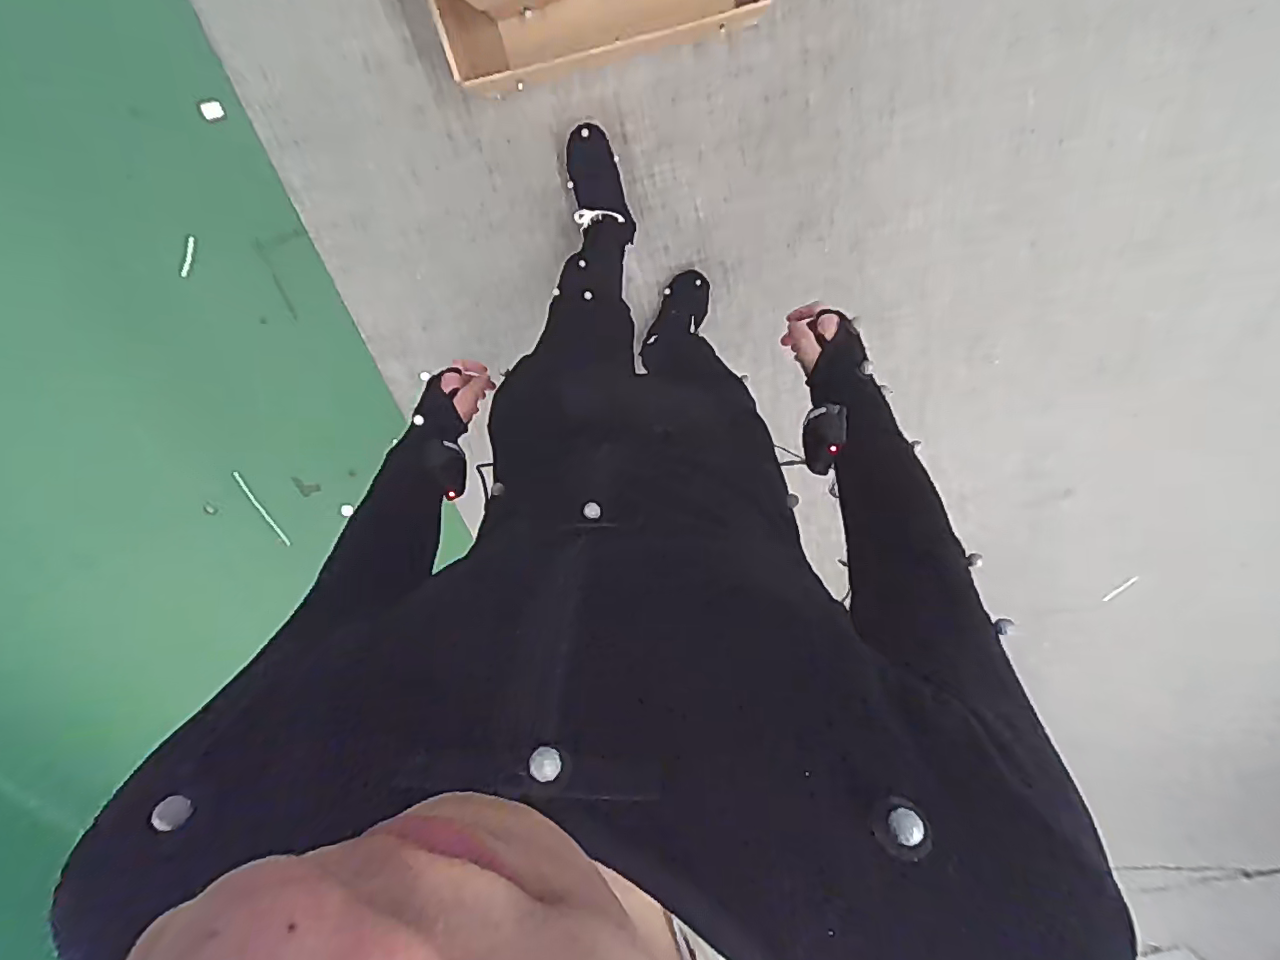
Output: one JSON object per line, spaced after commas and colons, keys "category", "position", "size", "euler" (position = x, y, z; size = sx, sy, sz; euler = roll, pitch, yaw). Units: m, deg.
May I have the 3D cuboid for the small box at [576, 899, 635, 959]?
{"category": "small box", "position": [-0.111, 1.566, 1.845], "size": [0.168, 0.176, 0.179], "euler": [-12, 122, 6]}
